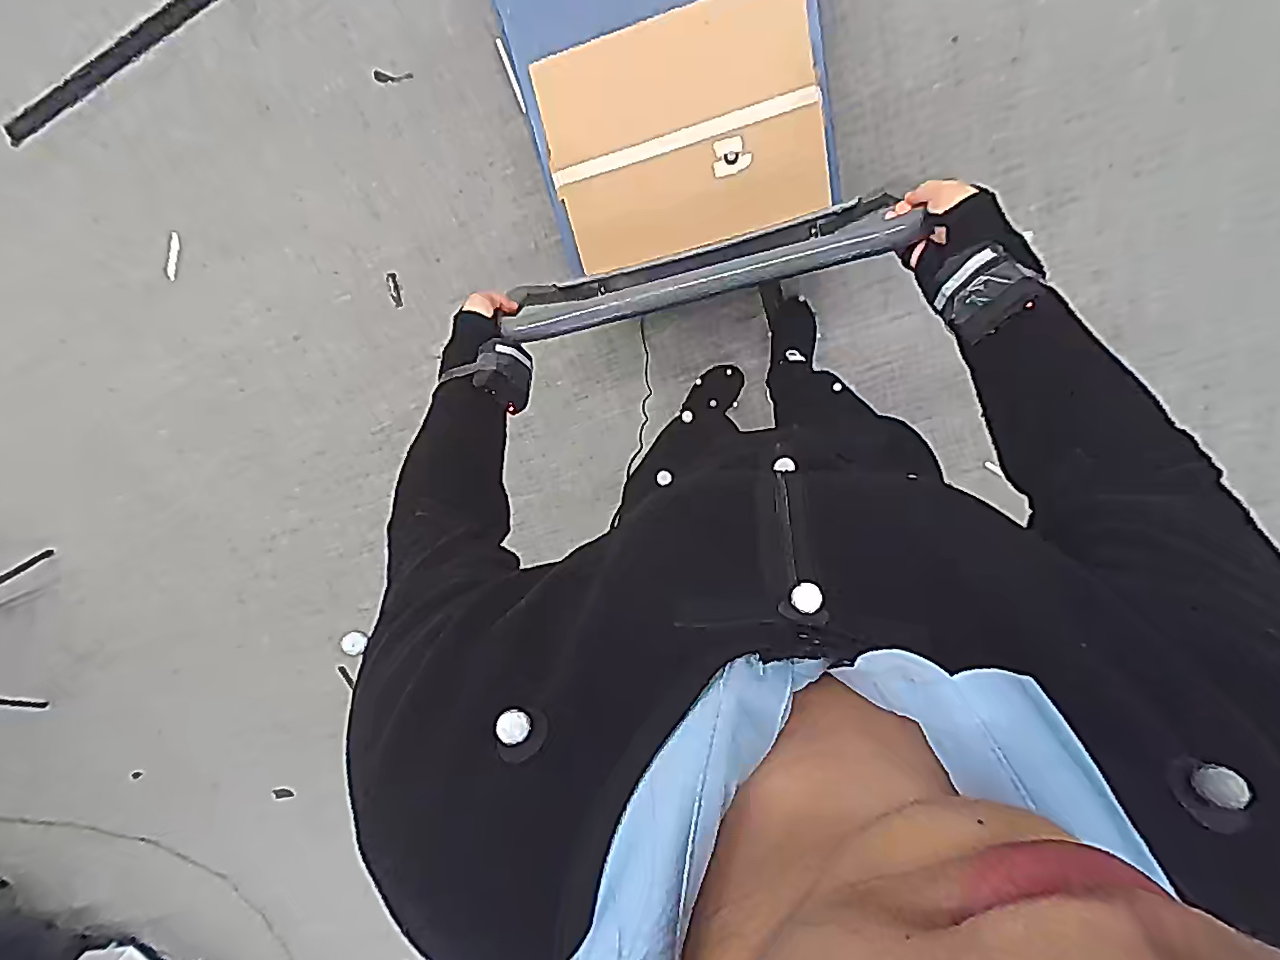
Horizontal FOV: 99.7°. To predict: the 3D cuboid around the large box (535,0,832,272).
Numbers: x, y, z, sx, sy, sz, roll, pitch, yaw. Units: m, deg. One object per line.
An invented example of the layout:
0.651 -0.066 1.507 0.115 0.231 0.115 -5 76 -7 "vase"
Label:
0.084 -0.584 0.961 0.408 0.320 0.320 -12 111 12 "large box"
